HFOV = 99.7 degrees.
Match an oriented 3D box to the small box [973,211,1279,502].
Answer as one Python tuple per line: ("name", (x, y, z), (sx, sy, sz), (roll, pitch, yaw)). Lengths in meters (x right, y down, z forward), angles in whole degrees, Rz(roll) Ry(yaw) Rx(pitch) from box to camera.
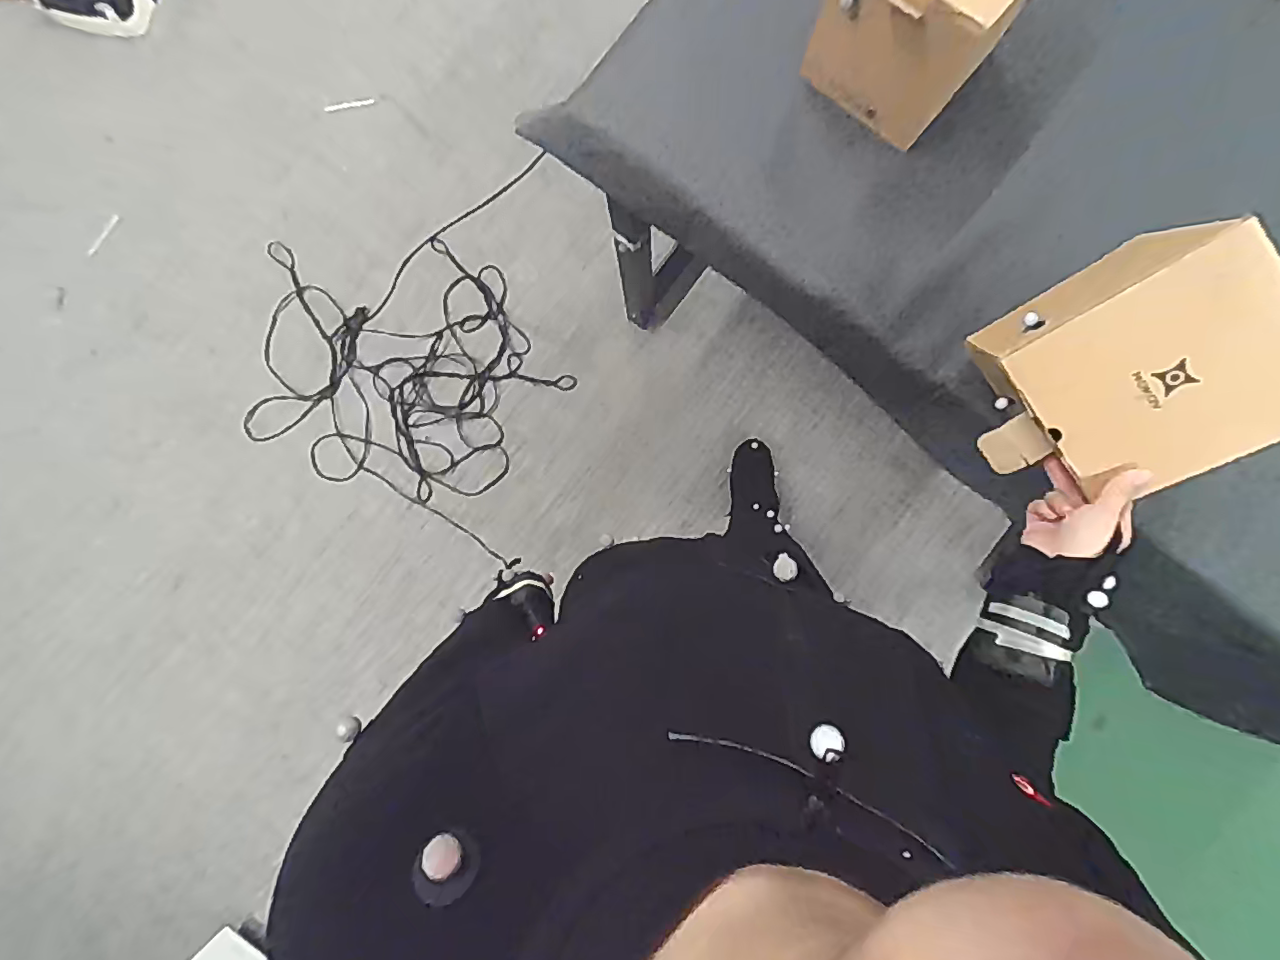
("small box", (0.446, -0.113, 0.497), (0.179, 0.176, 0.168), (-34, 95, 29))
